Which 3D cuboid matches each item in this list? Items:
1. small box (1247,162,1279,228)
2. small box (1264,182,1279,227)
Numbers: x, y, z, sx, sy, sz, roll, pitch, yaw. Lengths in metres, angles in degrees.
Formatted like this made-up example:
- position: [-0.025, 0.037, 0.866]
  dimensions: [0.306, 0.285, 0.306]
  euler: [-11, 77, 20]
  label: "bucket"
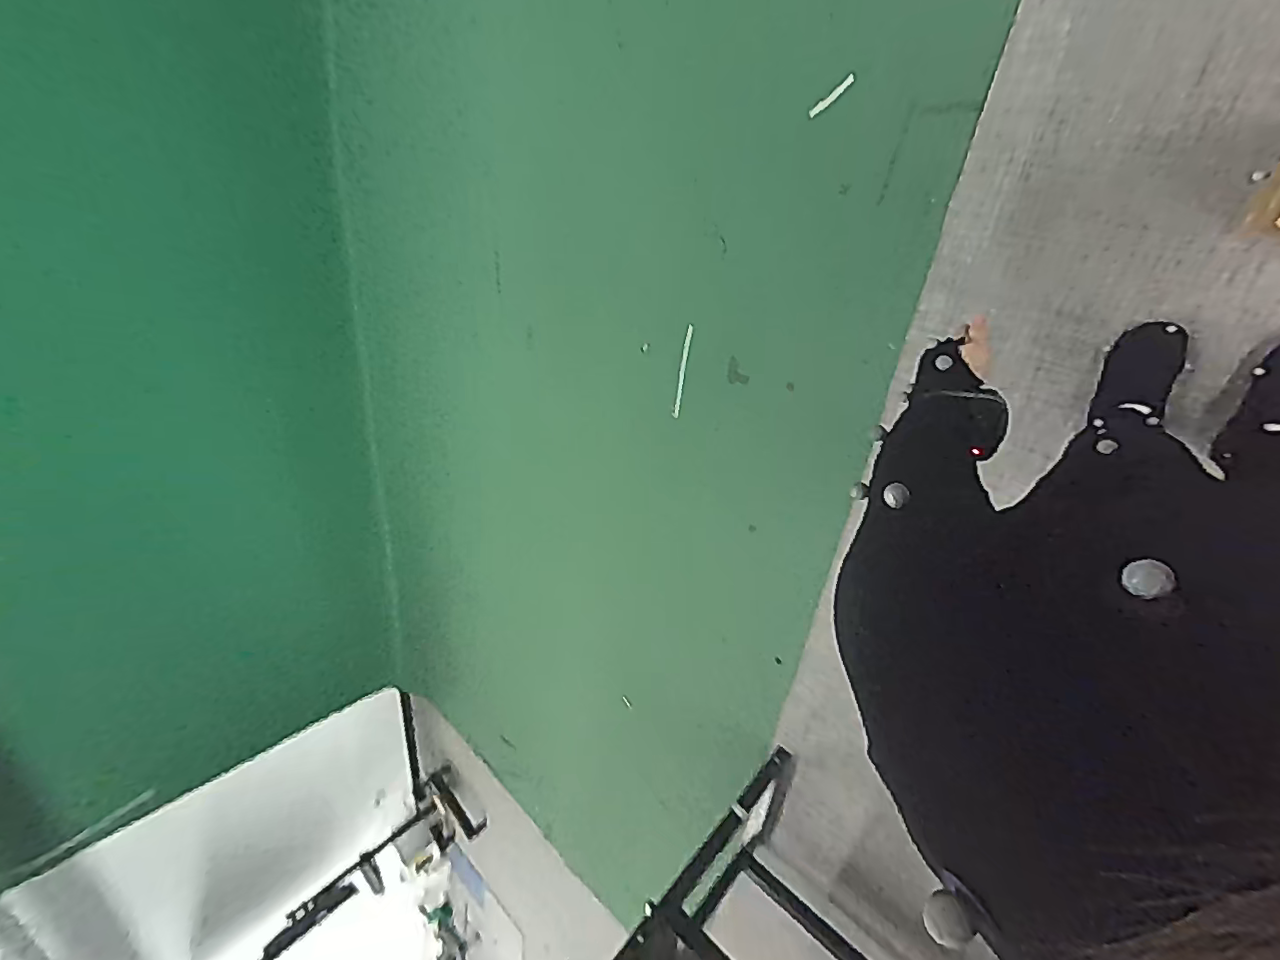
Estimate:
- position: [1.052, -0.456, 0.789]
  dimensions: [0.168, 0.176, 0.179]
  euler: [31, 127, 32]
  label: "small box"
- position: [0.944, -0.408, 0.677]
  dimensions: [0.168, 0.176, 0.179]
  euler: [29, 126, 35]
  label: "small box"
